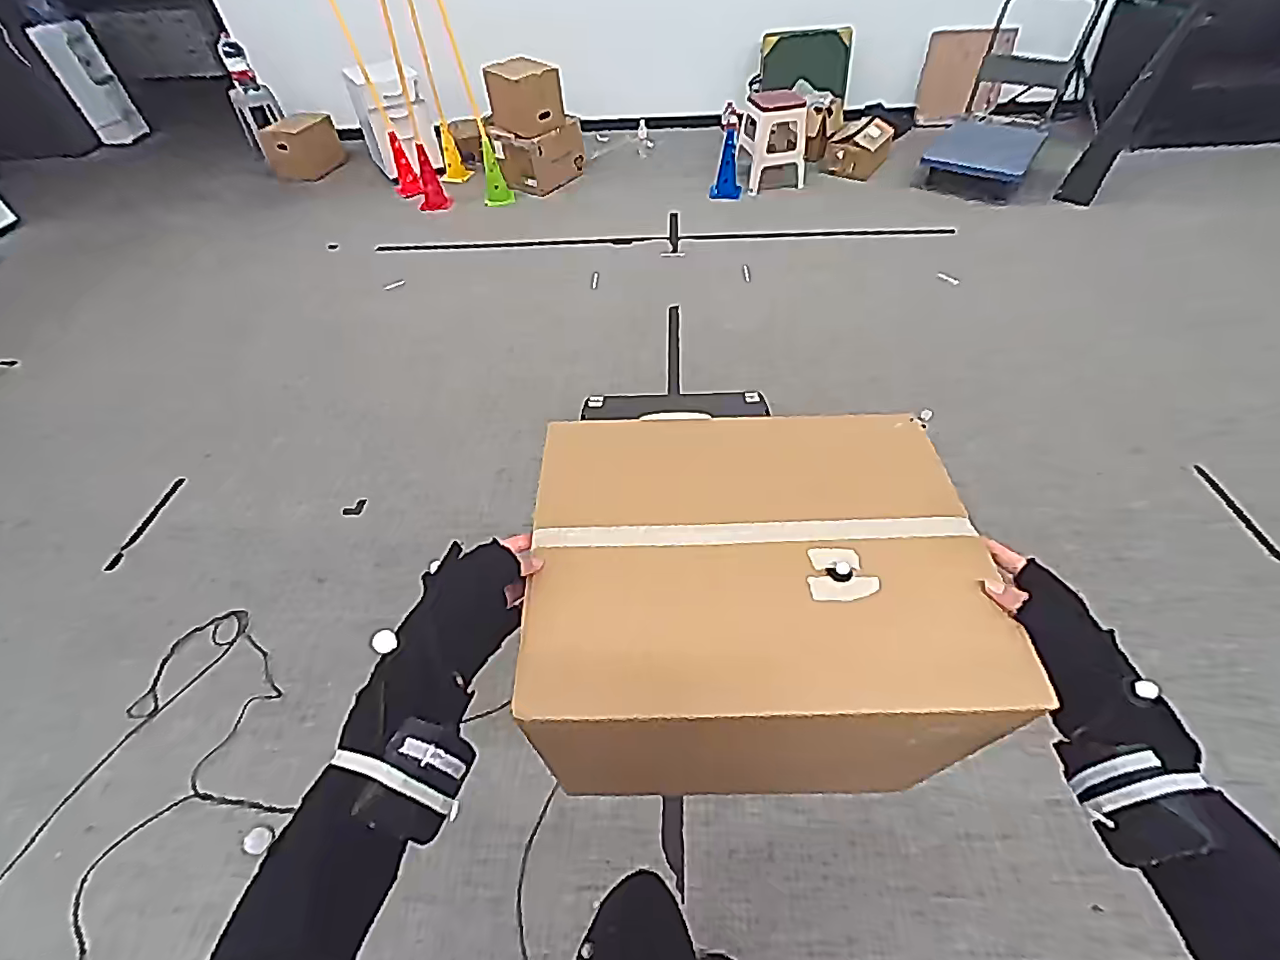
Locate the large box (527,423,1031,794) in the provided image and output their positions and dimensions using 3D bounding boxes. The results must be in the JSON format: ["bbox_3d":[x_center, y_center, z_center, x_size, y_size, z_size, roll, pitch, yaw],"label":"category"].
[{"bbox_3d":[0.106,0.153,0.626,0.408,0.320,0.320,-1,51,0],"label":"large box"}]

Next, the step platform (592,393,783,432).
[{"bbox_3d":[0.165,-0.151,1.958,0.684,0.204,0.286,-2,49,1],"label":"step platform"}]
